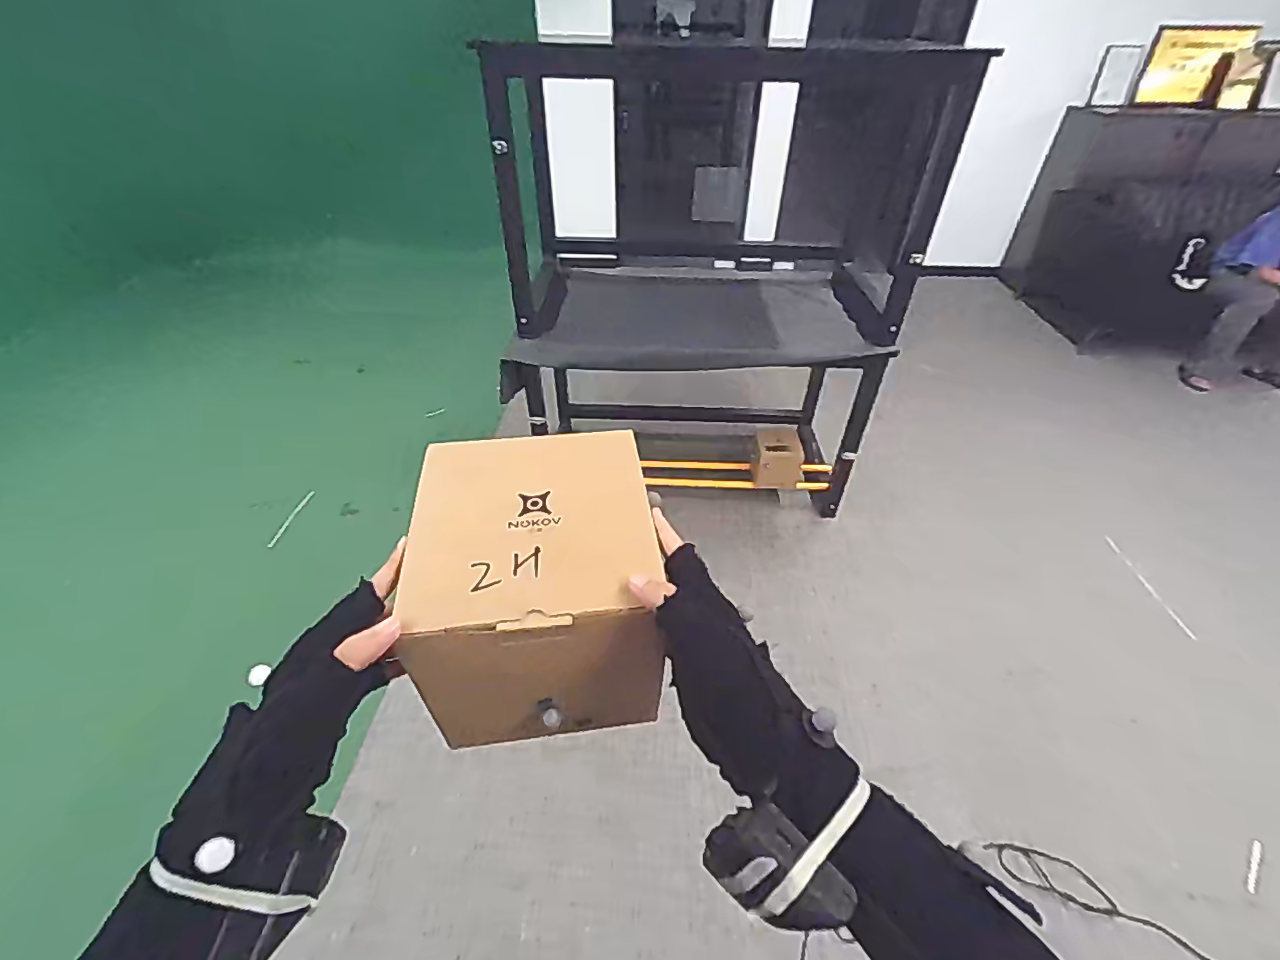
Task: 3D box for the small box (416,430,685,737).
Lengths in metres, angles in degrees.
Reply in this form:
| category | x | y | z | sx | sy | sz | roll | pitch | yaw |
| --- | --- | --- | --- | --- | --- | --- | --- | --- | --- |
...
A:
| category | x | y | z | sx | sy | sz | roll | pitch | yaw |
| --- | --- | --- | --- | --- | --- | --- | --- | --- | --- |
| small box | -0.065 | 0.080 | 0.440 | 0.168 | 0.176 | 0.179 | -4 | 43 | -6 |
